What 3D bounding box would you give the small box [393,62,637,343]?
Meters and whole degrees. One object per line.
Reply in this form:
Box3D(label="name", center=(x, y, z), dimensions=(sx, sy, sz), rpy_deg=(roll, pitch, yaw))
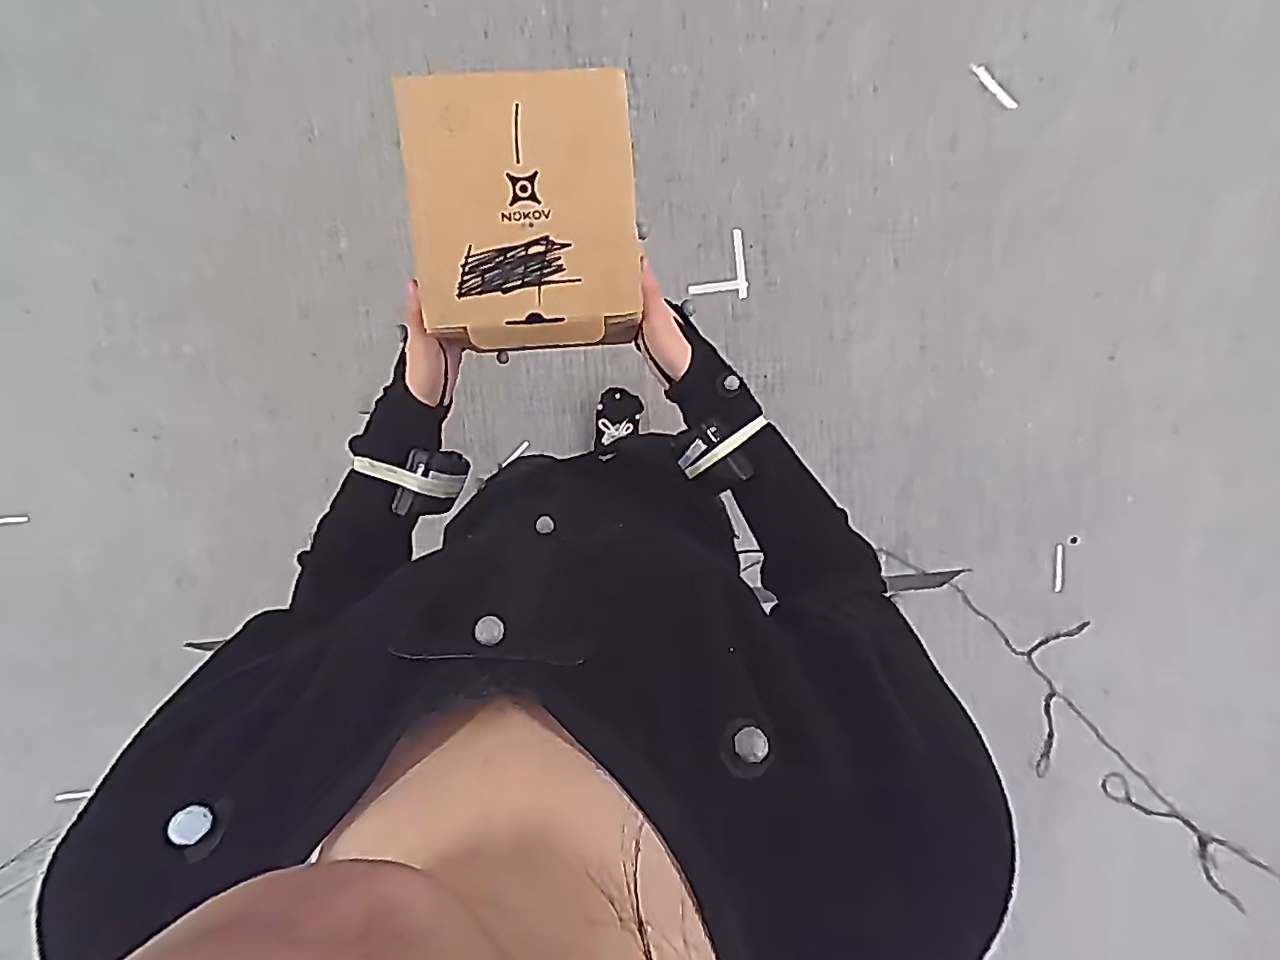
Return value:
Box3D(label="small box", center=(-0.091, -0.217, 0.472), dimensions=(0.168, 0.176, 0.179), rpy_deg=(-5, 97, -3))
